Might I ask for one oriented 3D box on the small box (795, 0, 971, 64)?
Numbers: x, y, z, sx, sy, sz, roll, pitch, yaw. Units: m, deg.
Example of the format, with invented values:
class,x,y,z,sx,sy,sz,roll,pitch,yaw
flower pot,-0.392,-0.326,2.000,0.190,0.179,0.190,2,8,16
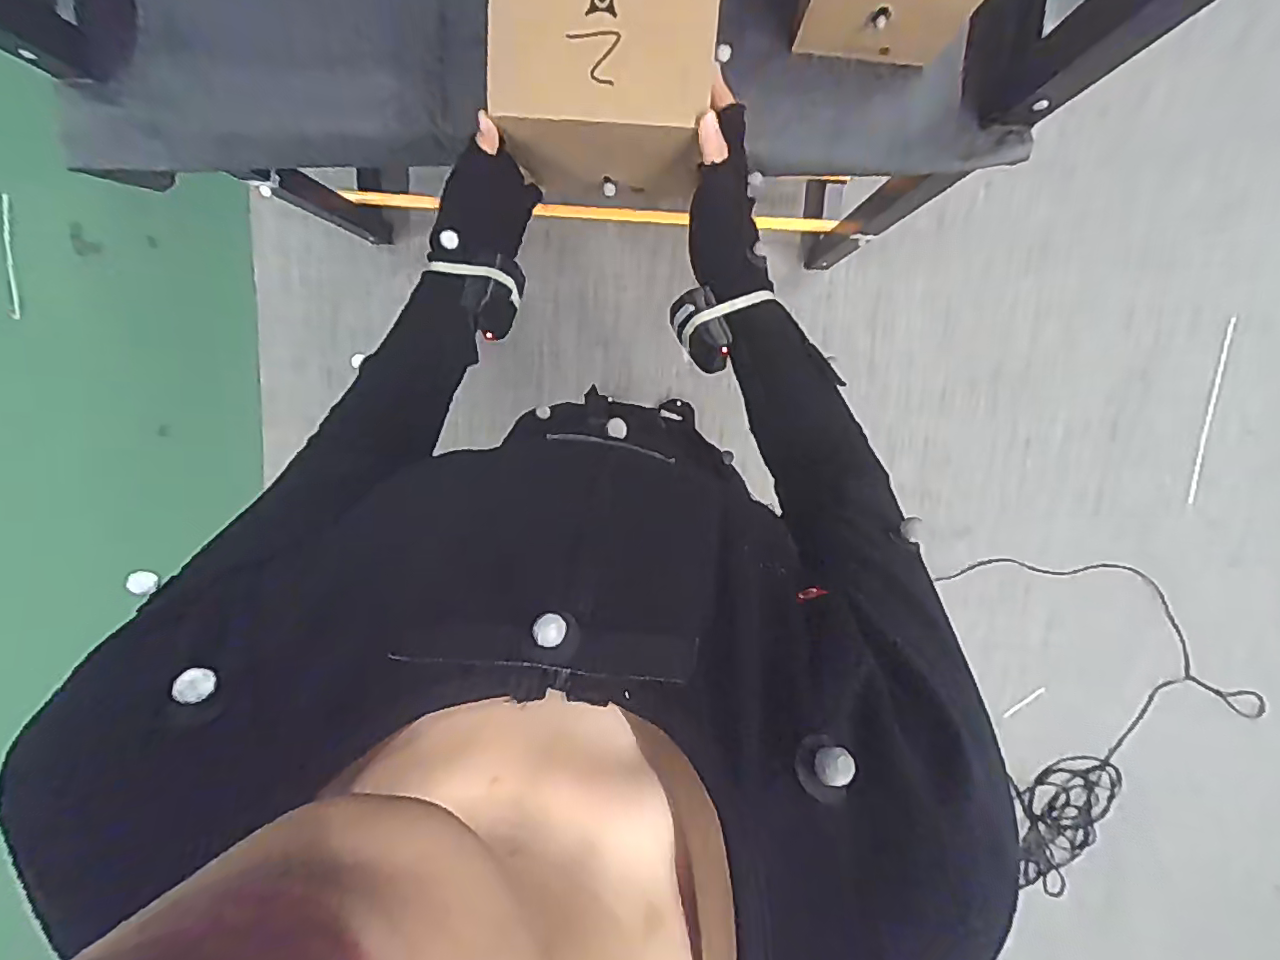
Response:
class,x,y,z,sx,sy,sz,roll,pitch,yaw
small box,0.266,-0.570,0.550,0.168,0.176,0.179,7,99,0
